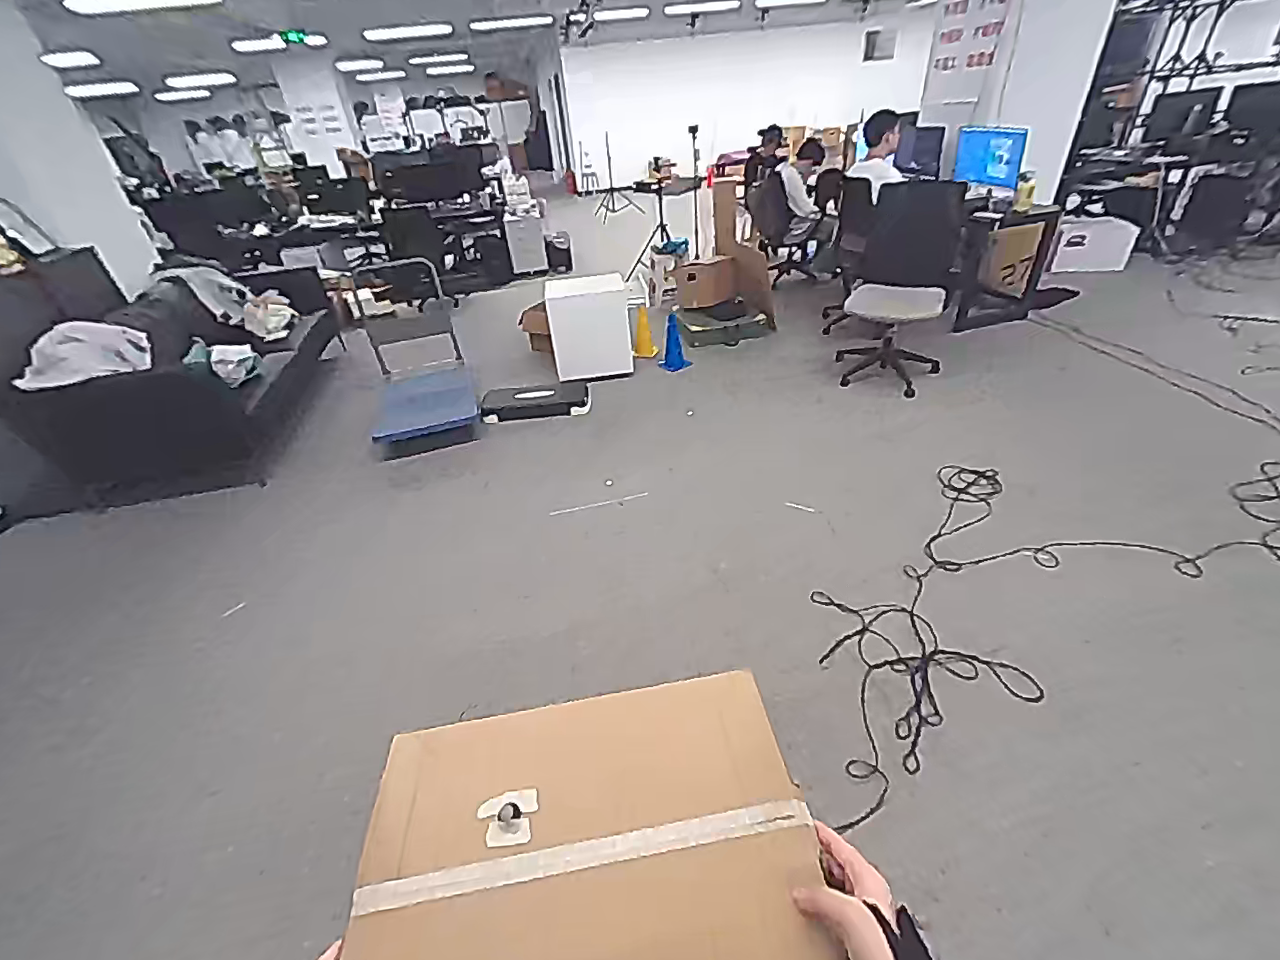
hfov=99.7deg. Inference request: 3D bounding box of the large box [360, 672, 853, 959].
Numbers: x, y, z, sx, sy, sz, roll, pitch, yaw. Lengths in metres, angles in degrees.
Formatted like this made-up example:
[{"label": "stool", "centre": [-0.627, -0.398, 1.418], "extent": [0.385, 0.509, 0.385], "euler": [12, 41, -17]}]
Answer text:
[{"label": "large box", "centre": [-0.023, 0.463, 0.579], "extent": [0.408, 0.320, 0.320], "euler": [-11, 36, -1]}]
